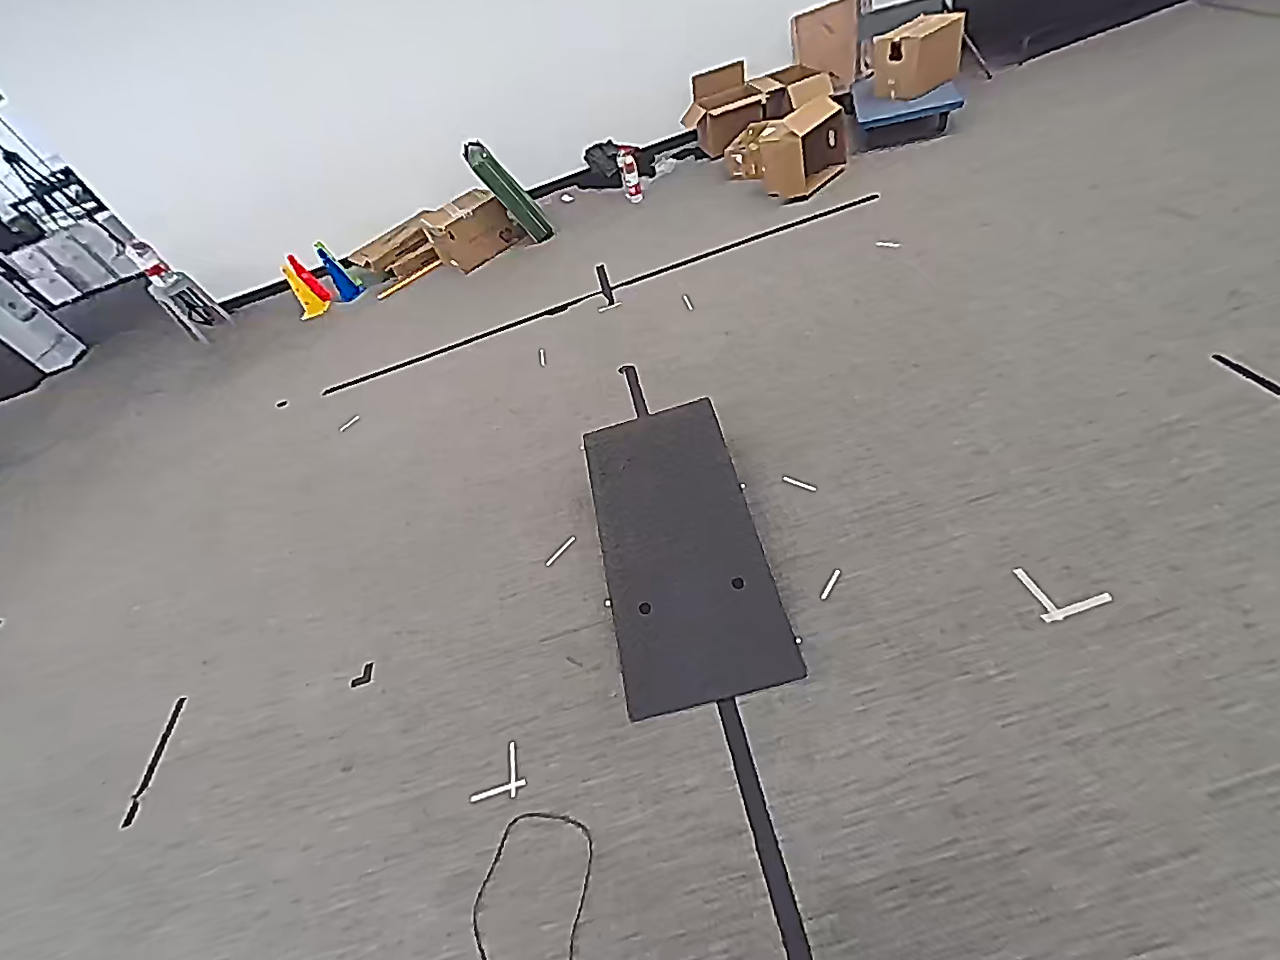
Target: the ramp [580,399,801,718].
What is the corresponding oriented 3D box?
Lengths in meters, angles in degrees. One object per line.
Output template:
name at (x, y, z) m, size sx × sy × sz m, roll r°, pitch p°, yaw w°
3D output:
ramp at (0.106, 0.176, 1.718) m, size 0.509 × 0.206 × 0.991 m, roll -17°, pitch 46°, yaw 3°
